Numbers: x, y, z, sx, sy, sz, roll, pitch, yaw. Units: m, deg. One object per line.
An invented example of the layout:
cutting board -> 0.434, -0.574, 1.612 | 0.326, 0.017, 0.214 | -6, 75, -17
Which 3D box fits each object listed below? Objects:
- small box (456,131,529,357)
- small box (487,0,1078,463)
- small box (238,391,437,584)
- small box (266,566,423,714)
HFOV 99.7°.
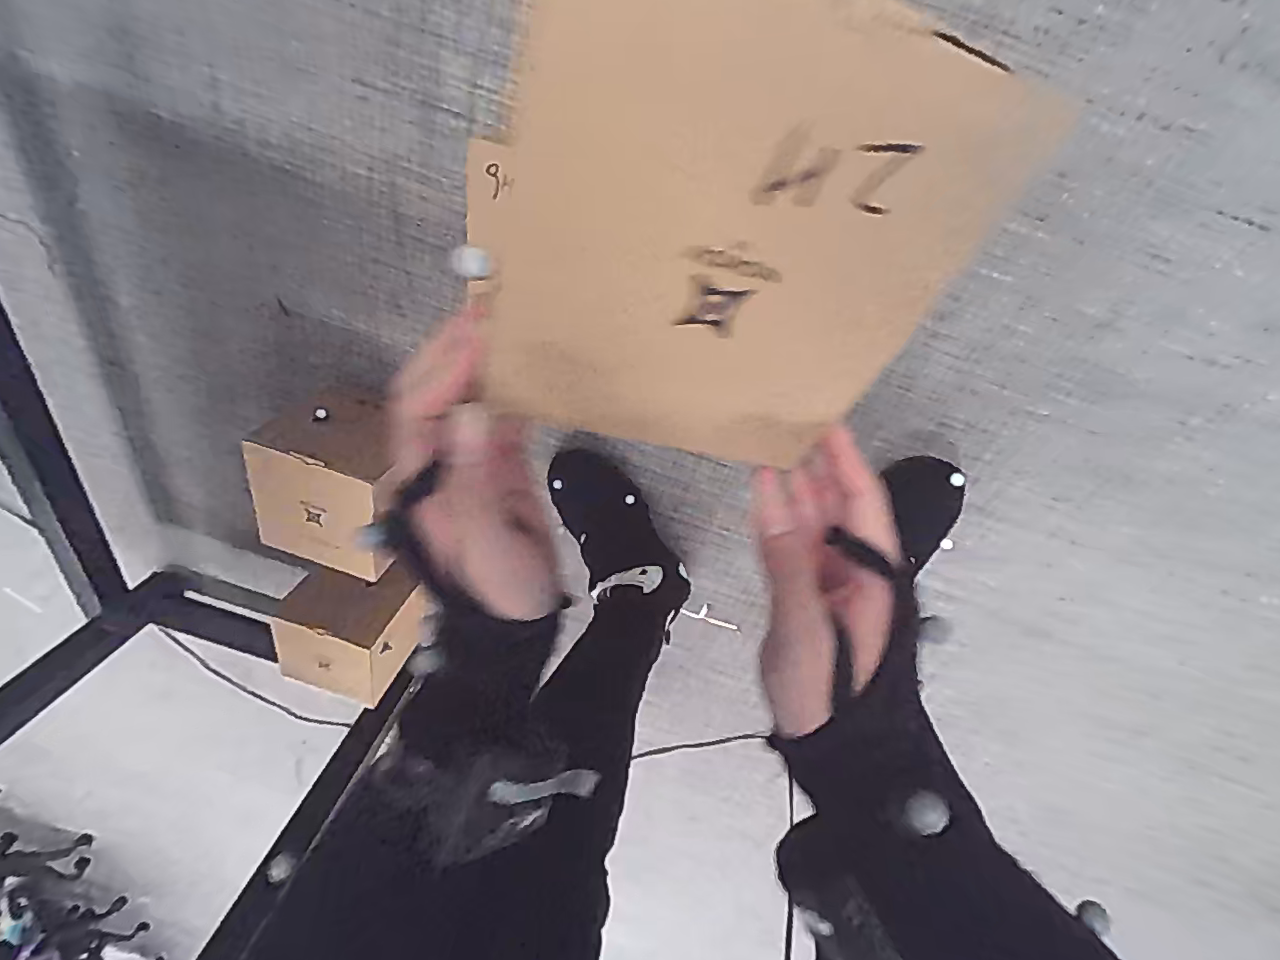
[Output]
small box -> -0.062, -0.215, 0.519 | 0.168, 0.176, 0.179 | 14, 125, 2
small box -> 0.032, -0.139, 0.258 | 0.168, 0.176, 0.179 | 10, 137, -16
small box -> -0.394, 0.003, 0.736 | 0.168, 0.176, 0.179 | 19, 125, 1
small box -> -0.488, 0.255, 0.920 | 0.168, 0.176, 0.179 | 18, 124, 1
